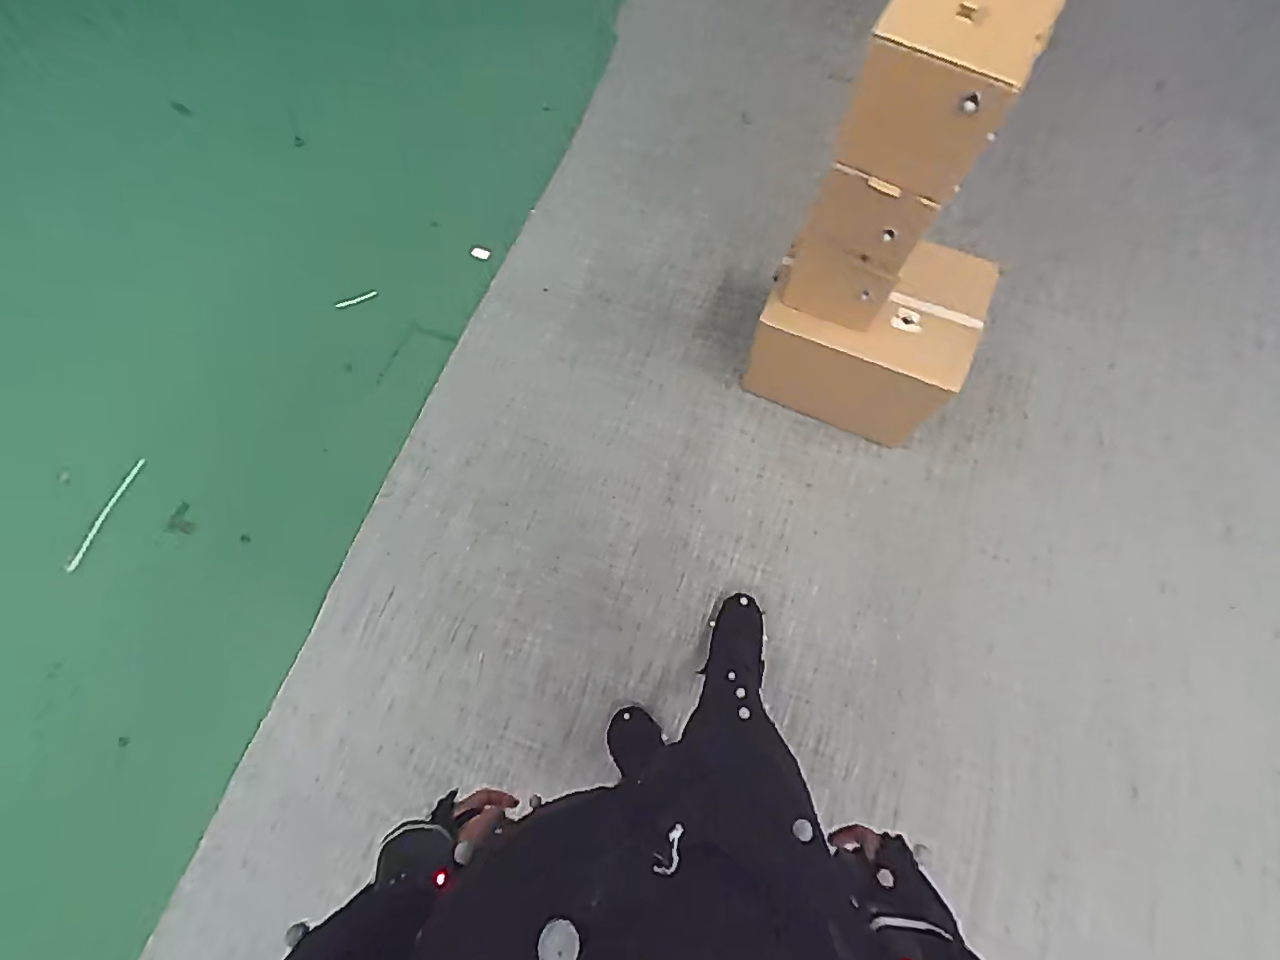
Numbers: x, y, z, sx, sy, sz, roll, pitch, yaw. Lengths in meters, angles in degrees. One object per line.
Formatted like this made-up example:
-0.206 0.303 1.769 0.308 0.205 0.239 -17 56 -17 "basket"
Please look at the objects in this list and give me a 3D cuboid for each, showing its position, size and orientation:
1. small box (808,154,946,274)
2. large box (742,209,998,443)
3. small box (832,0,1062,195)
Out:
0.382 -0.460 0.847 0.168 0.176 0.179 27 76 8 "small box"
0.488 -0.332 1.228 0.408 0.320 0.320 23 77 9 "large box"
0.375 -0.507 0.691 0.179 0.176 0.168 28 76 8 "small box"
